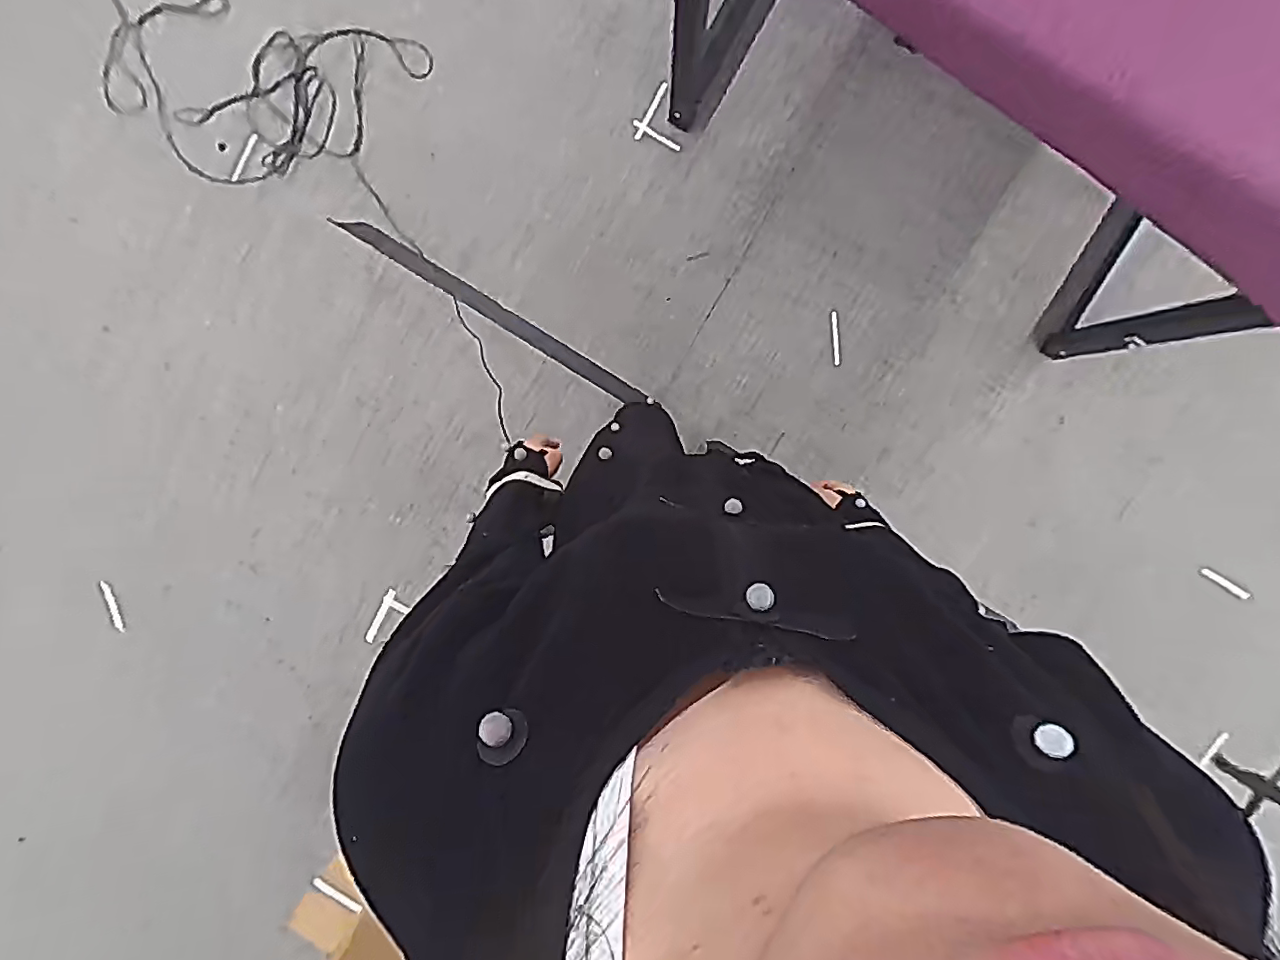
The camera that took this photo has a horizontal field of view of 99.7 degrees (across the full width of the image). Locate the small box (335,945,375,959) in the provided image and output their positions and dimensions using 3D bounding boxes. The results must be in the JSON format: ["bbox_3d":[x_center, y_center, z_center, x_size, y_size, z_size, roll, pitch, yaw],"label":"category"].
[{"bbox_3d":[-0.608,1.109,1.091,0.168,0.176,0.179,36,96,-3],"label":"small box"}]
